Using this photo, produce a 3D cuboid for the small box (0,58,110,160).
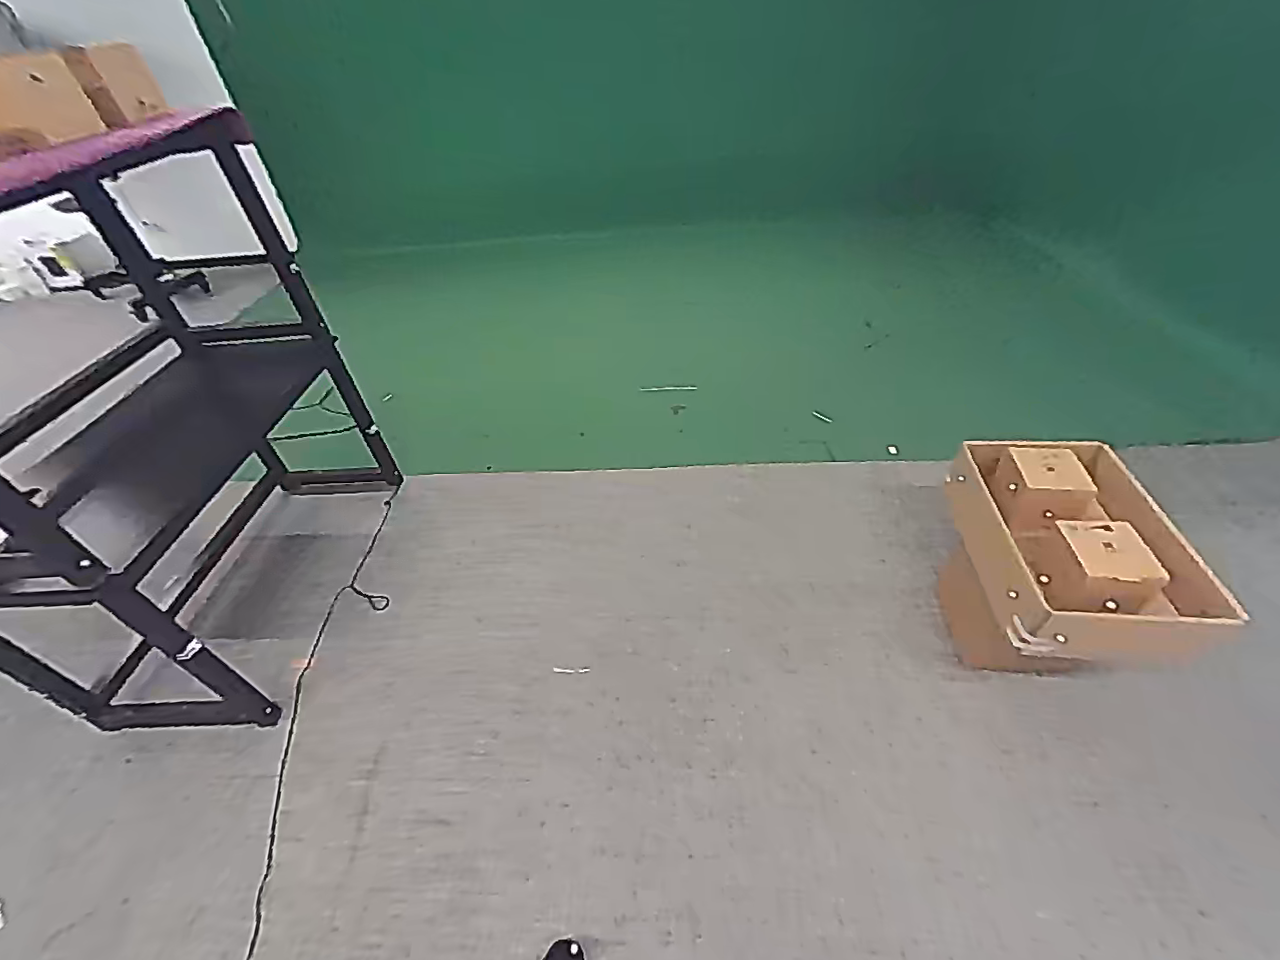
[{"bbox_3d":[-1.409,-0.854,1.250,0.168,0.176,0.179,-4,41,4],"label":"small box"}]
